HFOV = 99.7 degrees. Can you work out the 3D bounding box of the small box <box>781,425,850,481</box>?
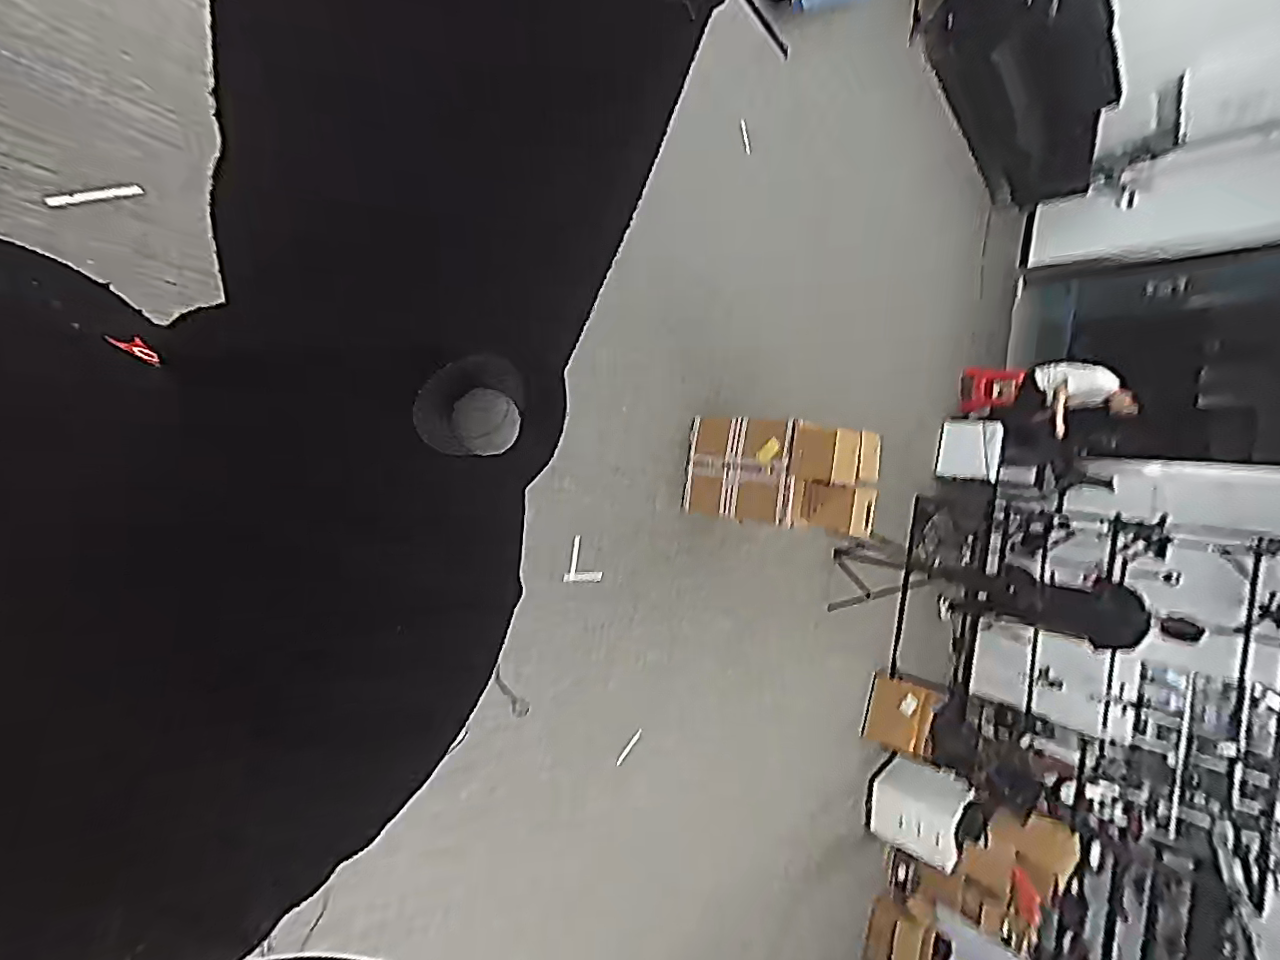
[{"bbox_3d":[0.622,-0.094,1.903,0.168,0.176,0.179,6,91,-43],"label":"small box"}]
